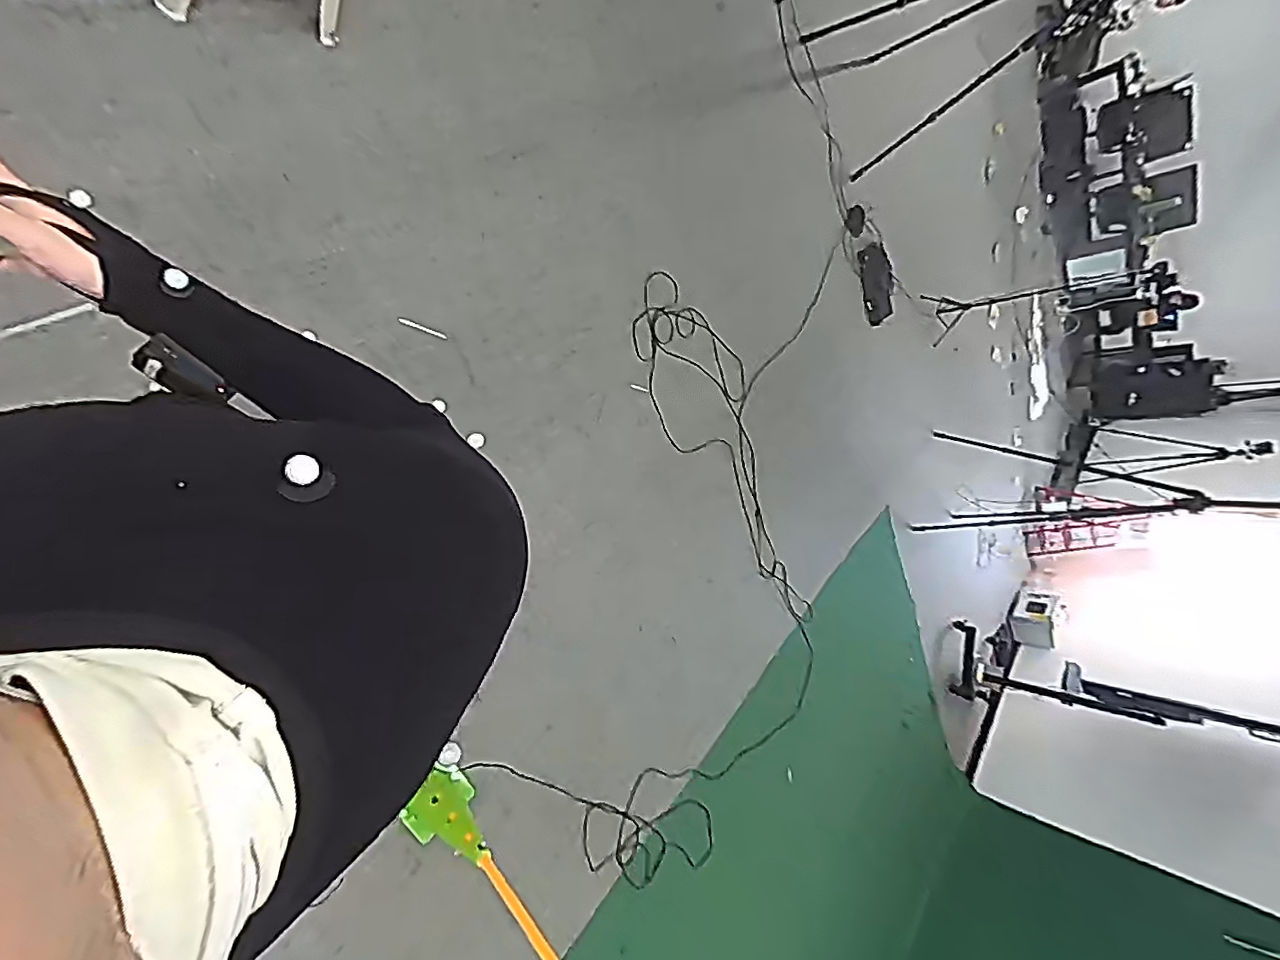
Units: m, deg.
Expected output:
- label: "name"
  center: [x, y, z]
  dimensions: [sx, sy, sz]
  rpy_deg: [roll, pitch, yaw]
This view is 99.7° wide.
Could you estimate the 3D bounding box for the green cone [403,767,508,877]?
- label: "green cone"
  center: [-0.488, 1.027, 1.549]
  dimensions: [0.202, 0.368, 0.200]
  rpy_deg: [-40, 116, -35]
